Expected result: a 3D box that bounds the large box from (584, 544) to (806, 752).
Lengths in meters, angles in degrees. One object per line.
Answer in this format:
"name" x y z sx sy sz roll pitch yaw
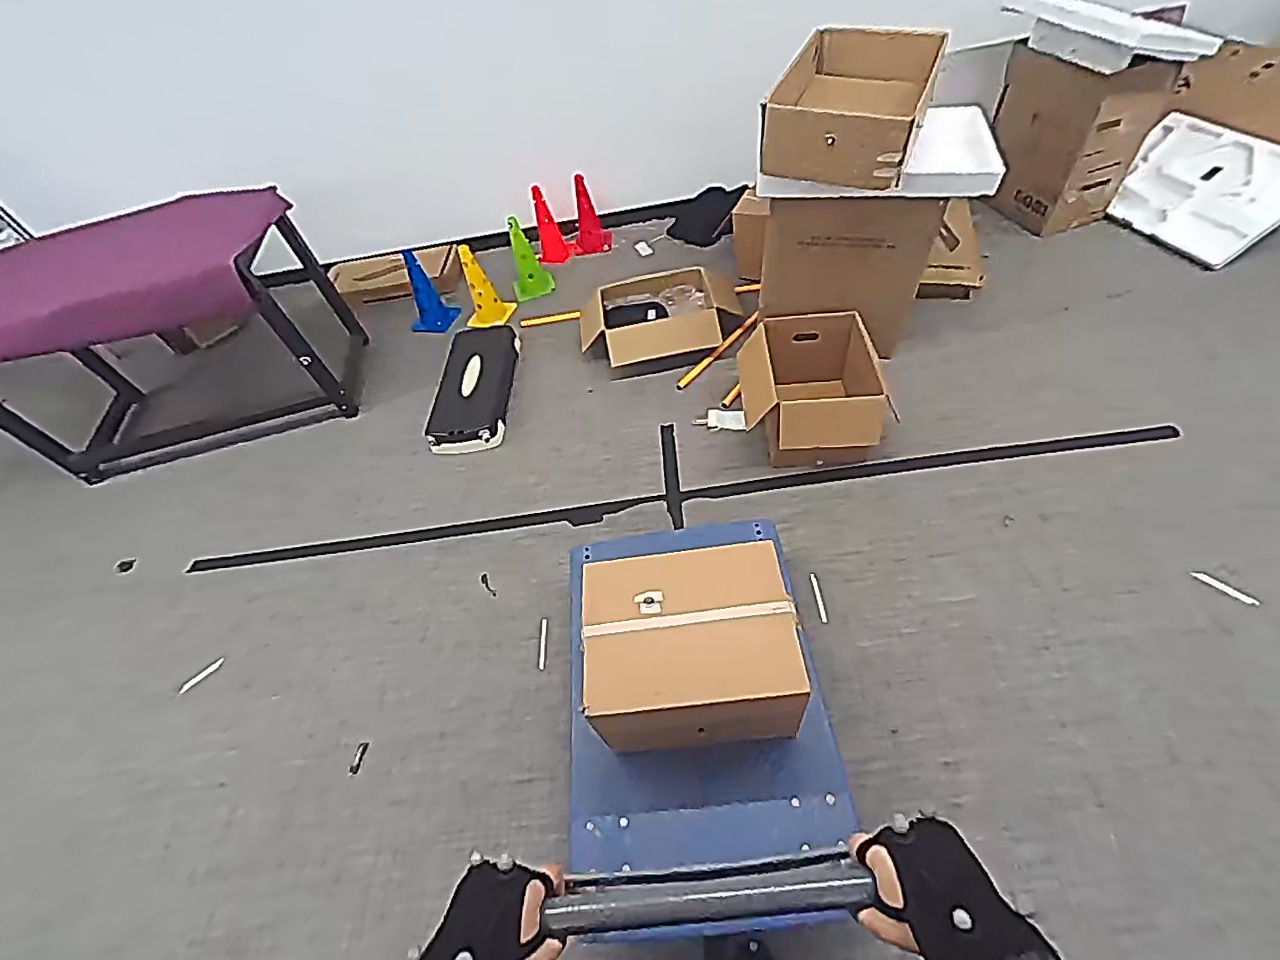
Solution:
"large box" 0.112 0.373 1.173 0.408 0.320 0.320 -9 50 5
